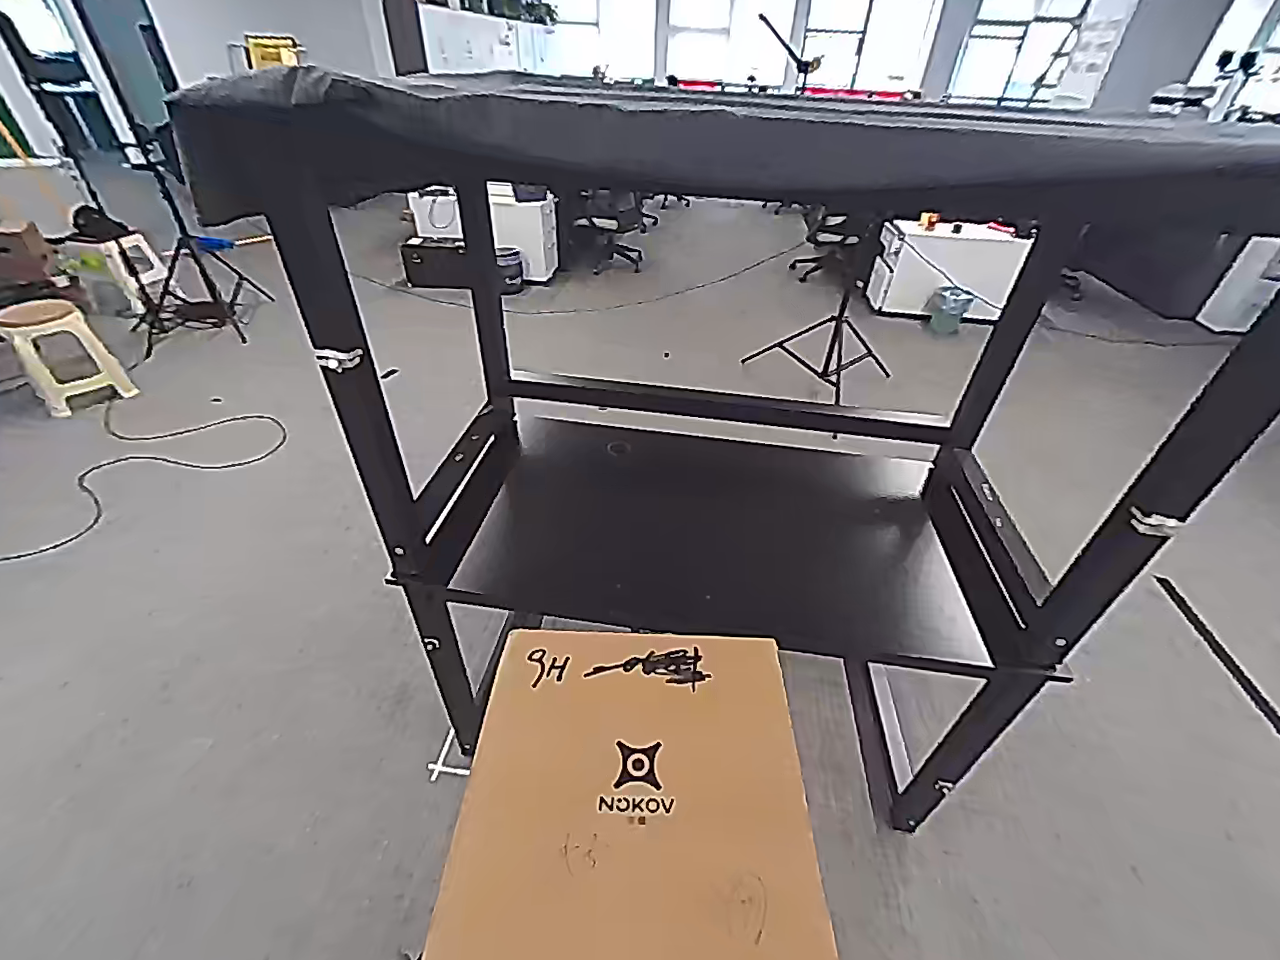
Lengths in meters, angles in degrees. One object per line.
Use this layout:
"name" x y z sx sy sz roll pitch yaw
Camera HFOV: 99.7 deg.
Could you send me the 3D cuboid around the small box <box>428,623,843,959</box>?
"small box" 0.000 0.206 0.310 0.168 0.176 0.179 3 40 0
